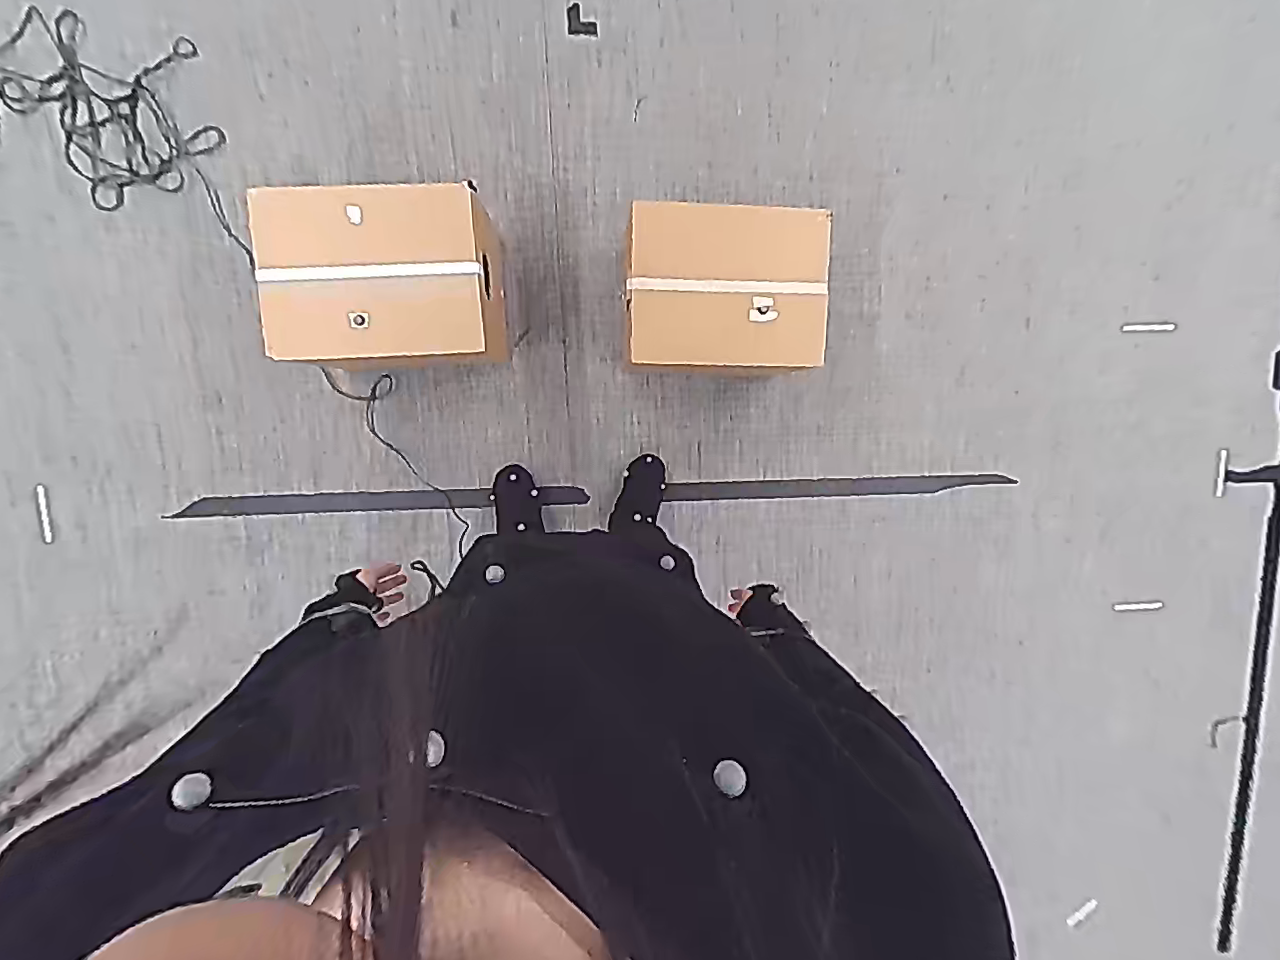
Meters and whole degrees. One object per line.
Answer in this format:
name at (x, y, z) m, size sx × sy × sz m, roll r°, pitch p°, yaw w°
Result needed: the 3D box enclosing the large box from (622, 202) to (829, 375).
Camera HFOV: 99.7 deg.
large box at (0.169, -0.410, 1.241) m, size 0.408 × 0.320 × 0.320 m, roll 0°, pitch 97°, yaw -6°
